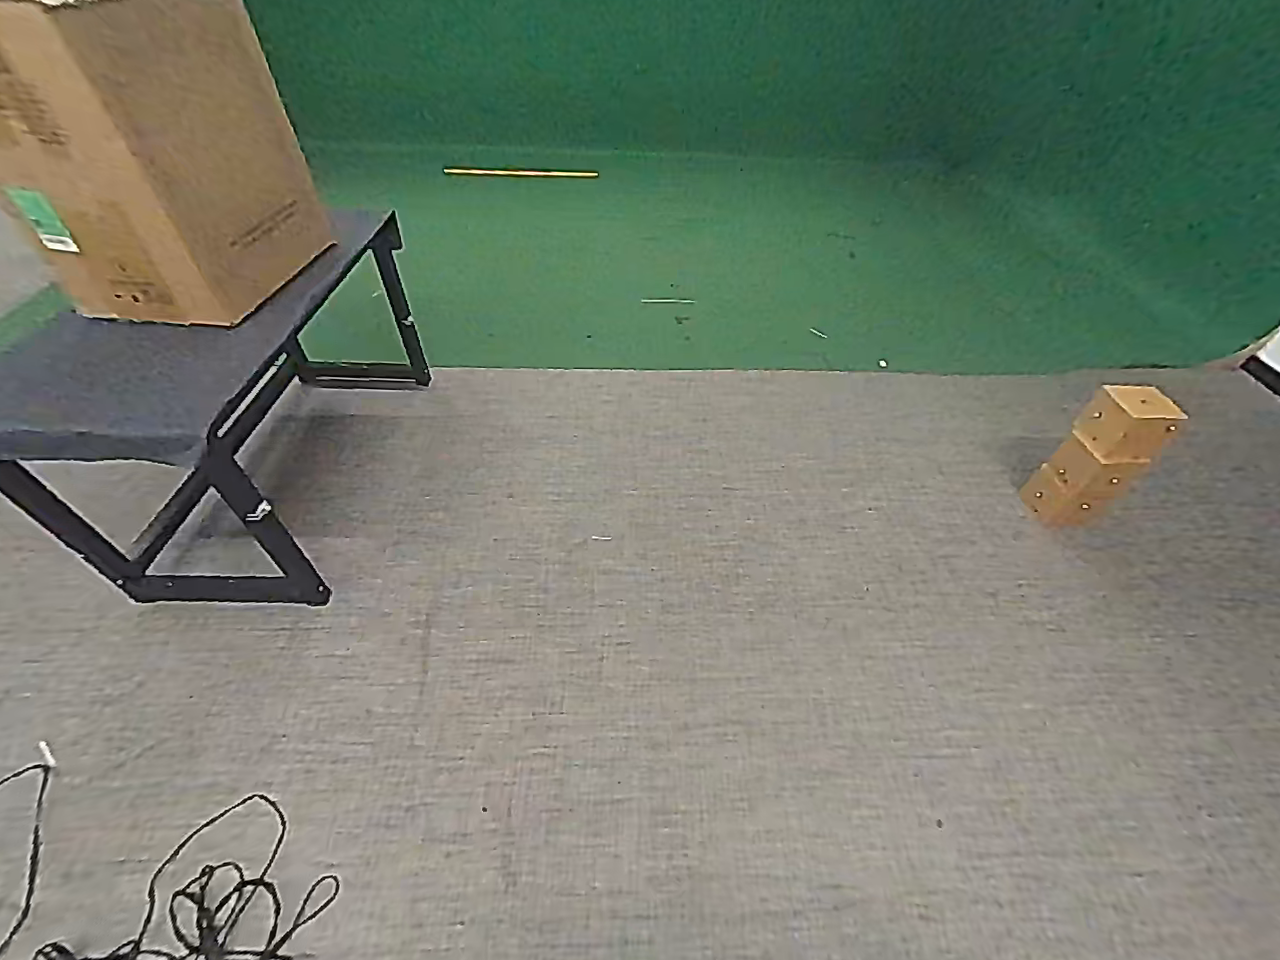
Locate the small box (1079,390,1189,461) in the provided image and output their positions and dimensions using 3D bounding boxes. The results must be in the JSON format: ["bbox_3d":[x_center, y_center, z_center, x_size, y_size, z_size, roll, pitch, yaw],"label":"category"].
[{"bbox_3d":[1.572,-0.174,1.741,0.179,0.176,0.168,1,46,-1],"label":"small box"}]
